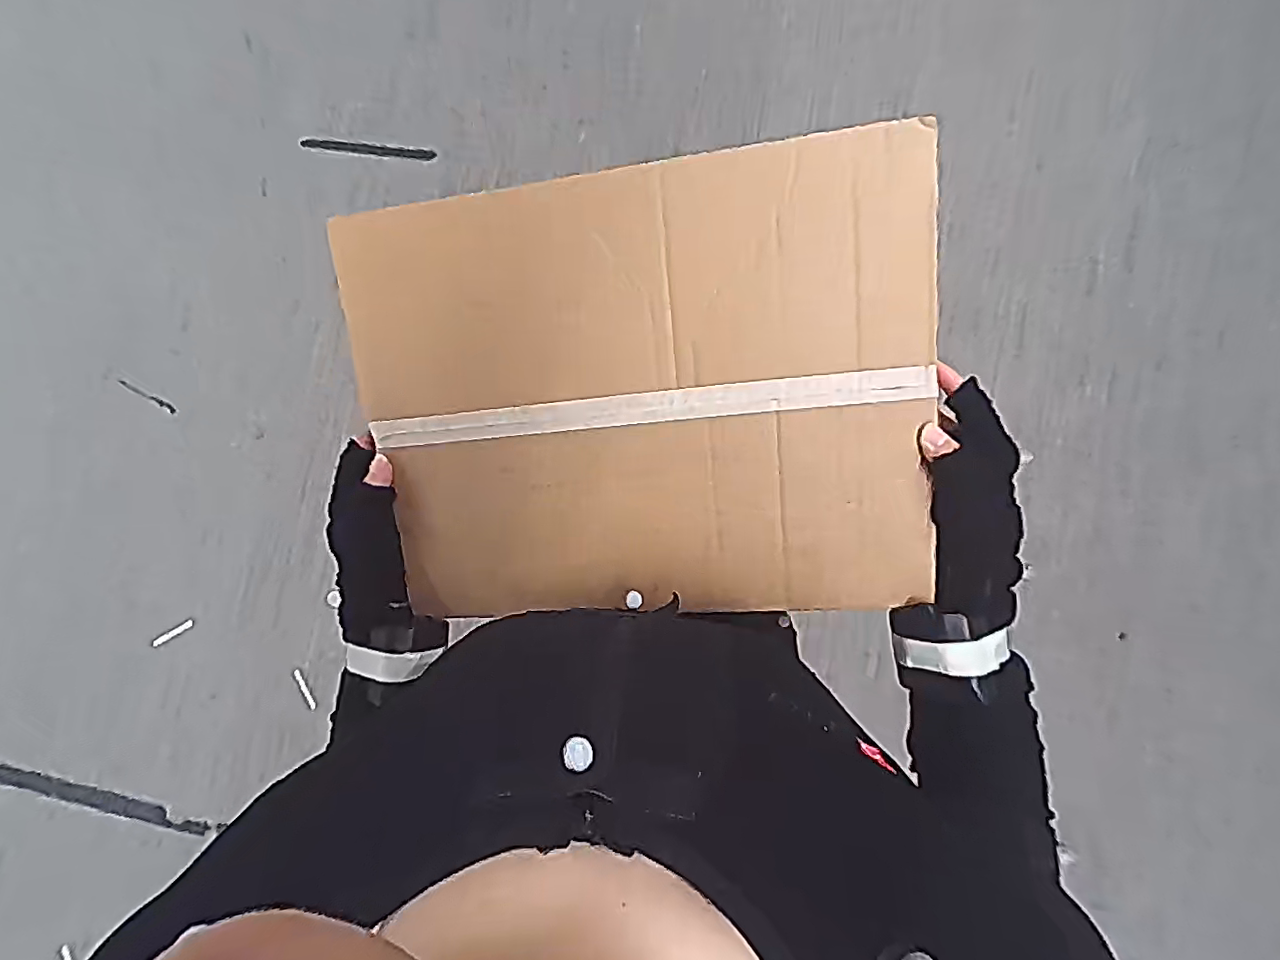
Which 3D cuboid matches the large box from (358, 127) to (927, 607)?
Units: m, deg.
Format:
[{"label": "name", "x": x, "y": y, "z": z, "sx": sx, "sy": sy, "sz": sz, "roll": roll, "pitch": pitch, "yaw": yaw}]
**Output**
[{"label": "large box", "x": 0.020, "y": -0.087, "z": 0.542, "sx": 0.408, "sy": 0.320, "sz": 0.320, "roll": -4, "pitch": 104, "yaw": 10}]
